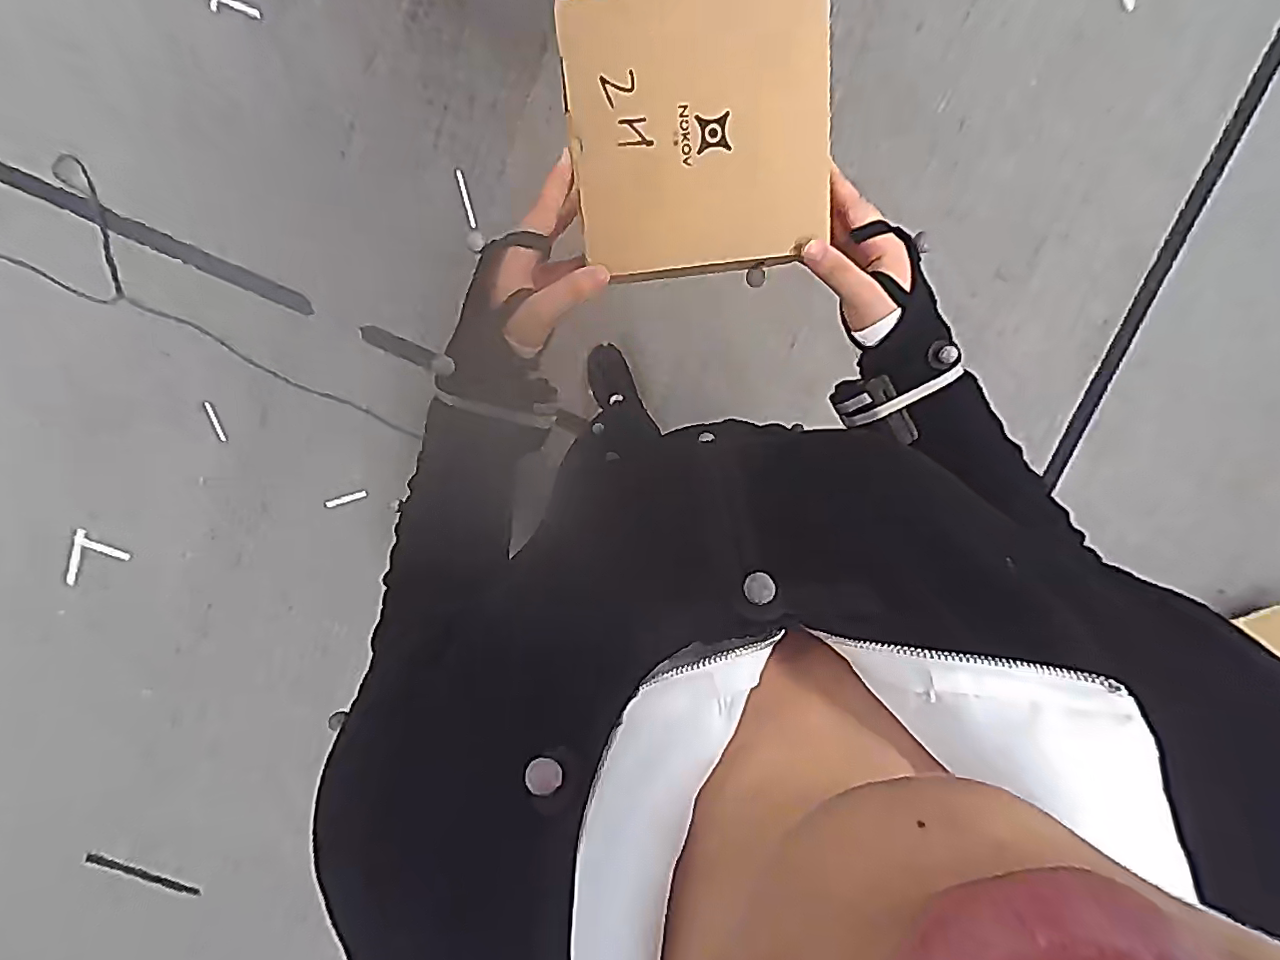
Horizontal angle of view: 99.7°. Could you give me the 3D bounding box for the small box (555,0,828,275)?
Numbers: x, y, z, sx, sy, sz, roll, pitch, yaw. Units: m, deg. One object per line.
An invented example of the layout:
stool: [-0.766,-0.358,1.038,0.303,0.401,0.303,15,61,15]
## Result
small box: [0.035,-0.263,0.438,0.179,0.176,0.168,-6,108,0]
